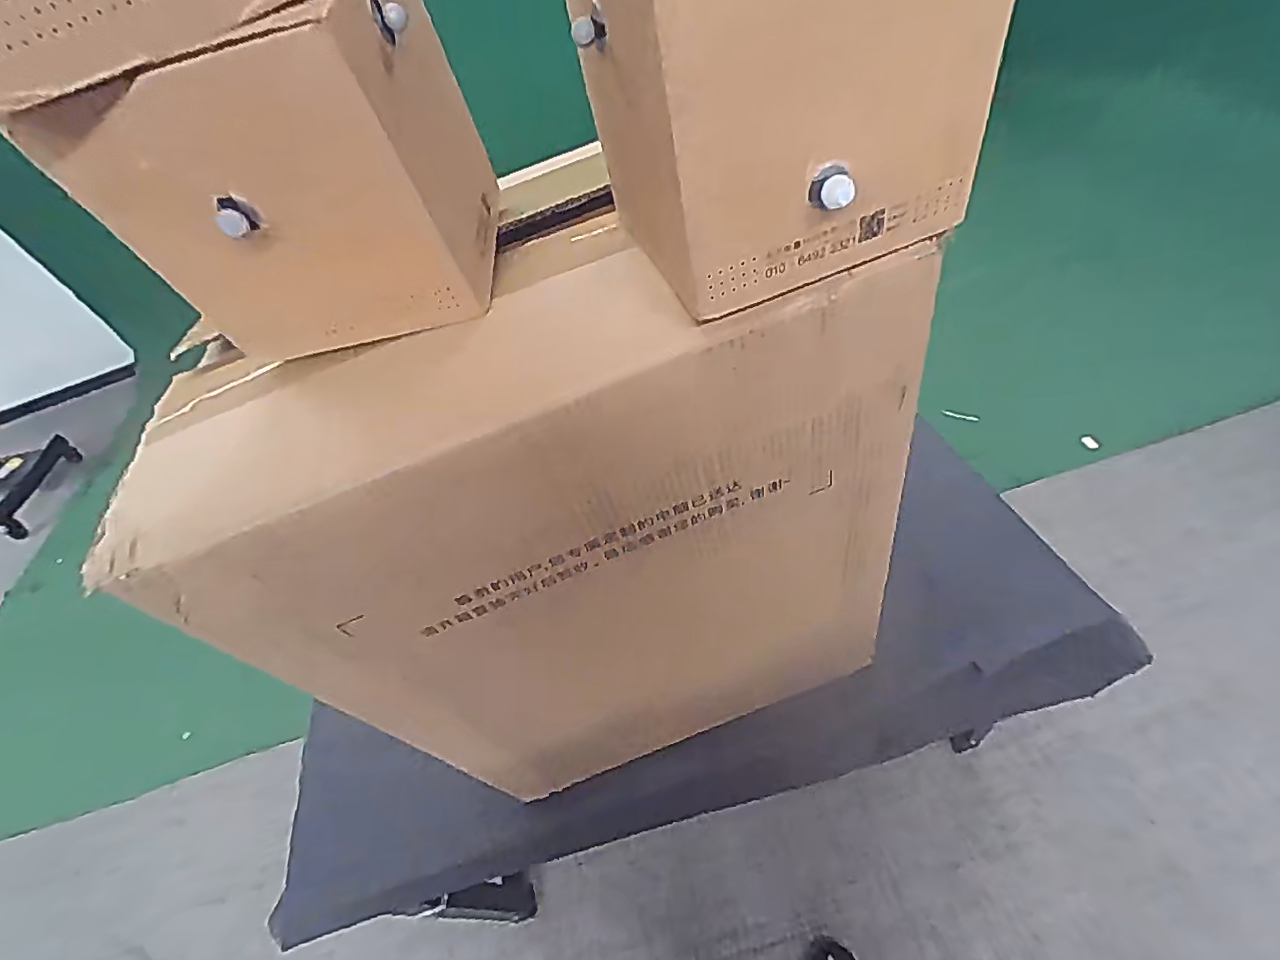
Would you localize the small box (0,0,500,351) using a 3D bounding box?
[{"bbox_3d":[-0.212,-0.207,0.352,0.179,0.176,0.168,-10,57,7],"label":"small box"}]

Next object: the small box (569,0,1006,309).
[{"bbox_3d":[0.063,-0.226,0.301,0.168,0.176,0.179,-21,49,-2],"label":"small box"}]
